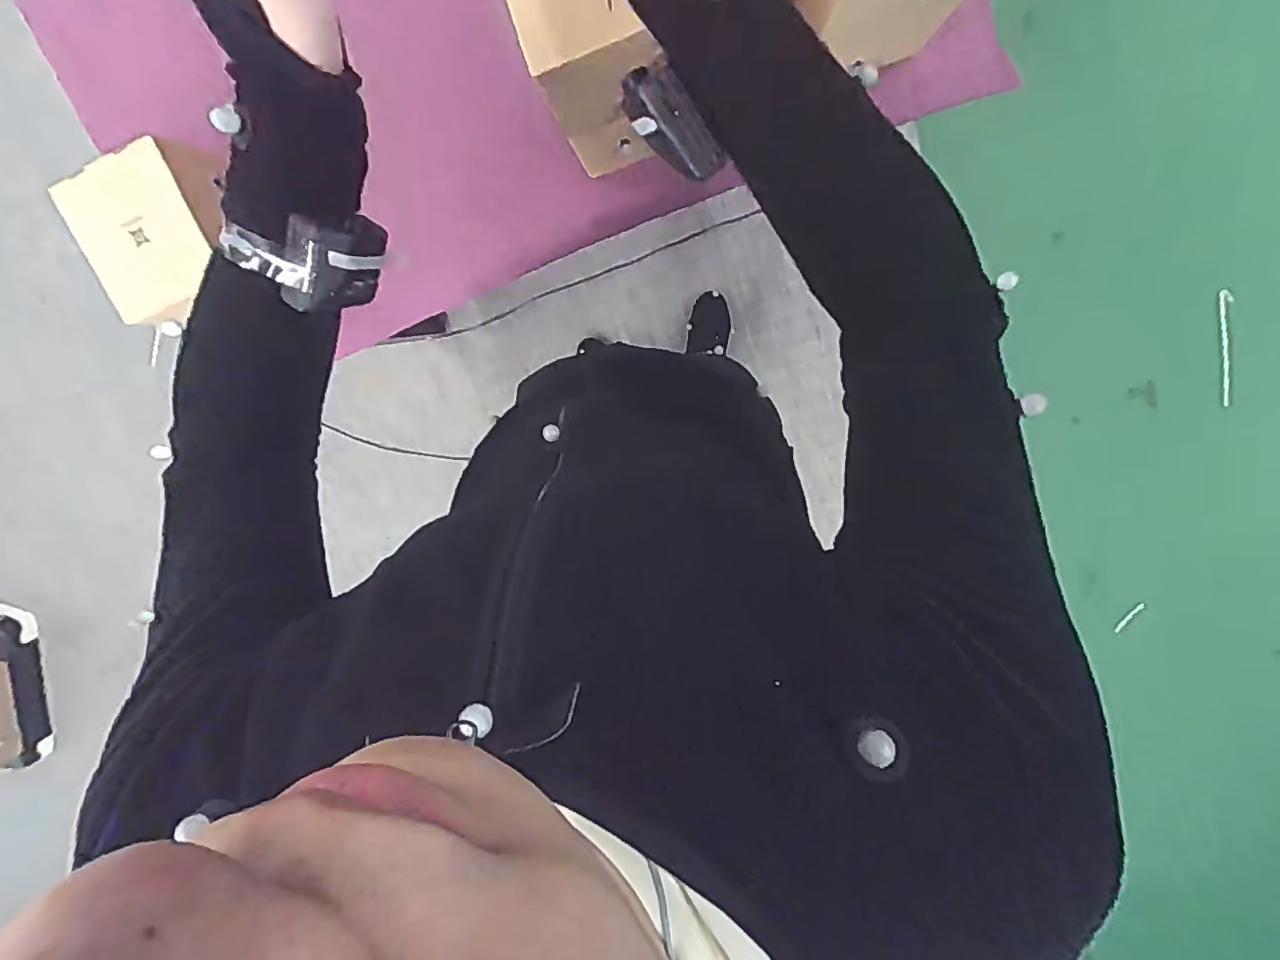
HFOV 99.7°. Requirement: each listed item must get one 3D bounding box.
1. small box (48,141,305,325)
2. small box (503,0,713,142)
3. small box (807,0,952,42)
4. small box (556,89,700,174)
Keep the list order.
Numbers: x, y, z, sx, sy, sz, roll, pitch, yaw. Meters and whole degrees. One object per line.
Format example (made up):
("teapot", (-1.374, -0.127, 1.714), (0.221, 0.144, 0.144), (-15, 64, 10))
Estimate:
("small box", (-0.621, -0.324, 0.751), (0.168, 0.176, 0.179), (-18, 104, 9))
("small box", (-0.038, -0.458, 0.504), (0.168, 0.176, 0.179), (-16, 105, 9))
("small box", (0.231, -0.533, 0.459), (0.168, 0.176, 0.179), (-14, 104, 9))
("small box", (-0.027, -0.501, 0.661), (0.168, 0.176, 0.179), (-17, 103, 9))
